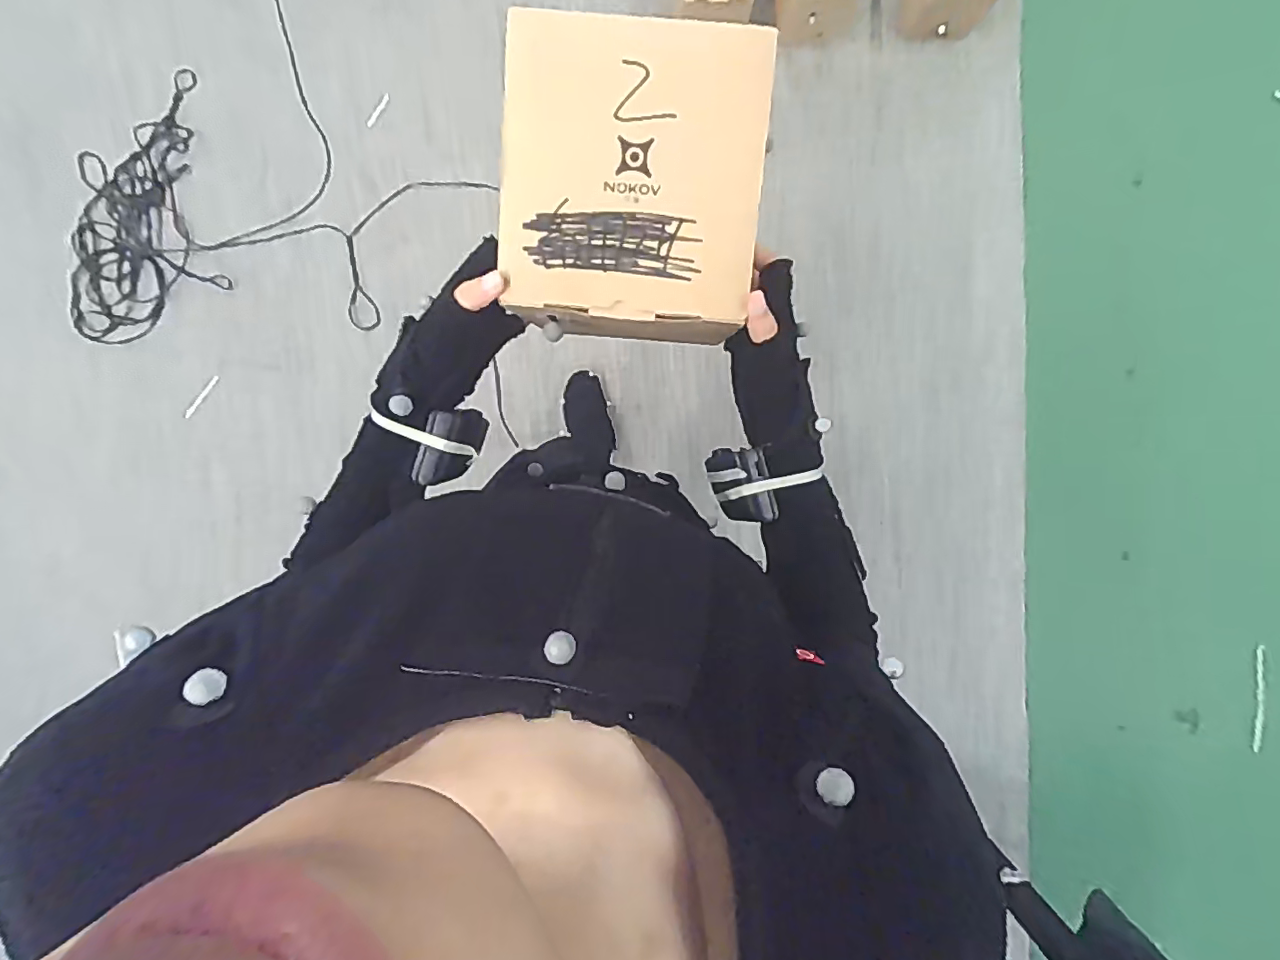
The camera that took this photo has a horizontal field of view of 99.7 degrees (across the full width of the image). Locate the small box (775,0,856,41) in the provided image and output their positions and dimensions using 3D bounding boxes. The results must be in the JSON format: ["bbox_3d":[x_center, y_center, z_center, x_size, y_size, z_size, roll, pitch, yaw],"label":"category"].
[{"bbox_3d":[0.428,-1.201,1.301,0.168,0.176,0.179,-4,93,0],"label":"small box"}]

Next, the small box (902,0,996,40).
[{"bbox_3d":[0.753,-1.214,1.302,0.168,0.176,0.179,0,95,0],"label":"small box"}]

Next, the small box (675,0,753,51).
[{"bbox_3d":[0.173,-1.182,1.297,0.168,0.176,0.179,-3,95,1],"label":"small box"}]
